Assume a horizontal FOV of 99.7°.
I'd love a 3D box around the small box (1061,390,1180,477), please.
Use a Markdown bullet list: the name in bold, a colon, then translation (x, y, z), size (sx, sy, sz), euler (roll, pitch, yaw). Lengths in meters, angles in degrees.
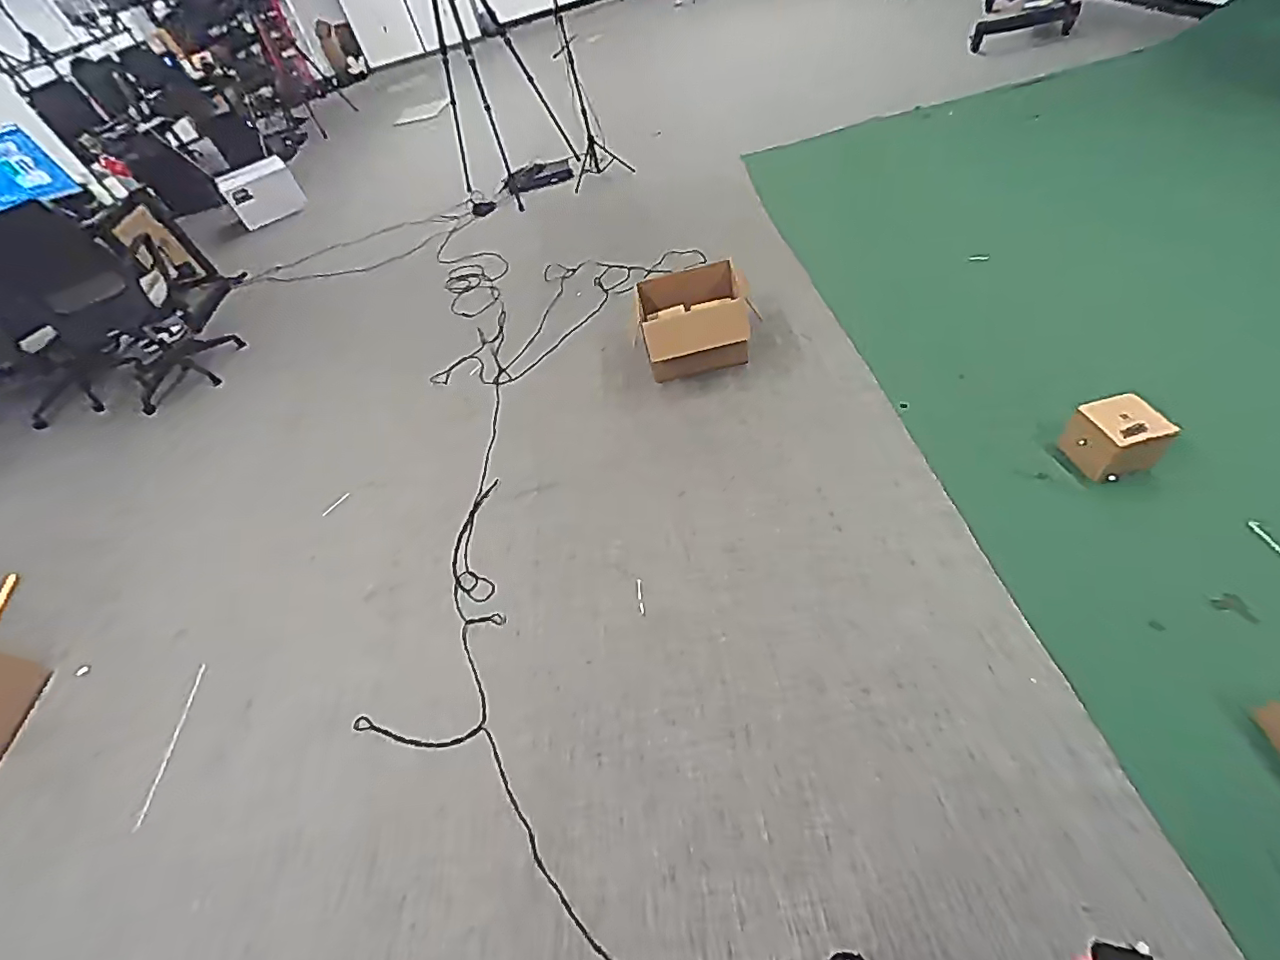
- **small box**: translation (1.389, -0.128, 1.578), size (0.168, 0.176, 0.179), euler (-14, 48, 3)
